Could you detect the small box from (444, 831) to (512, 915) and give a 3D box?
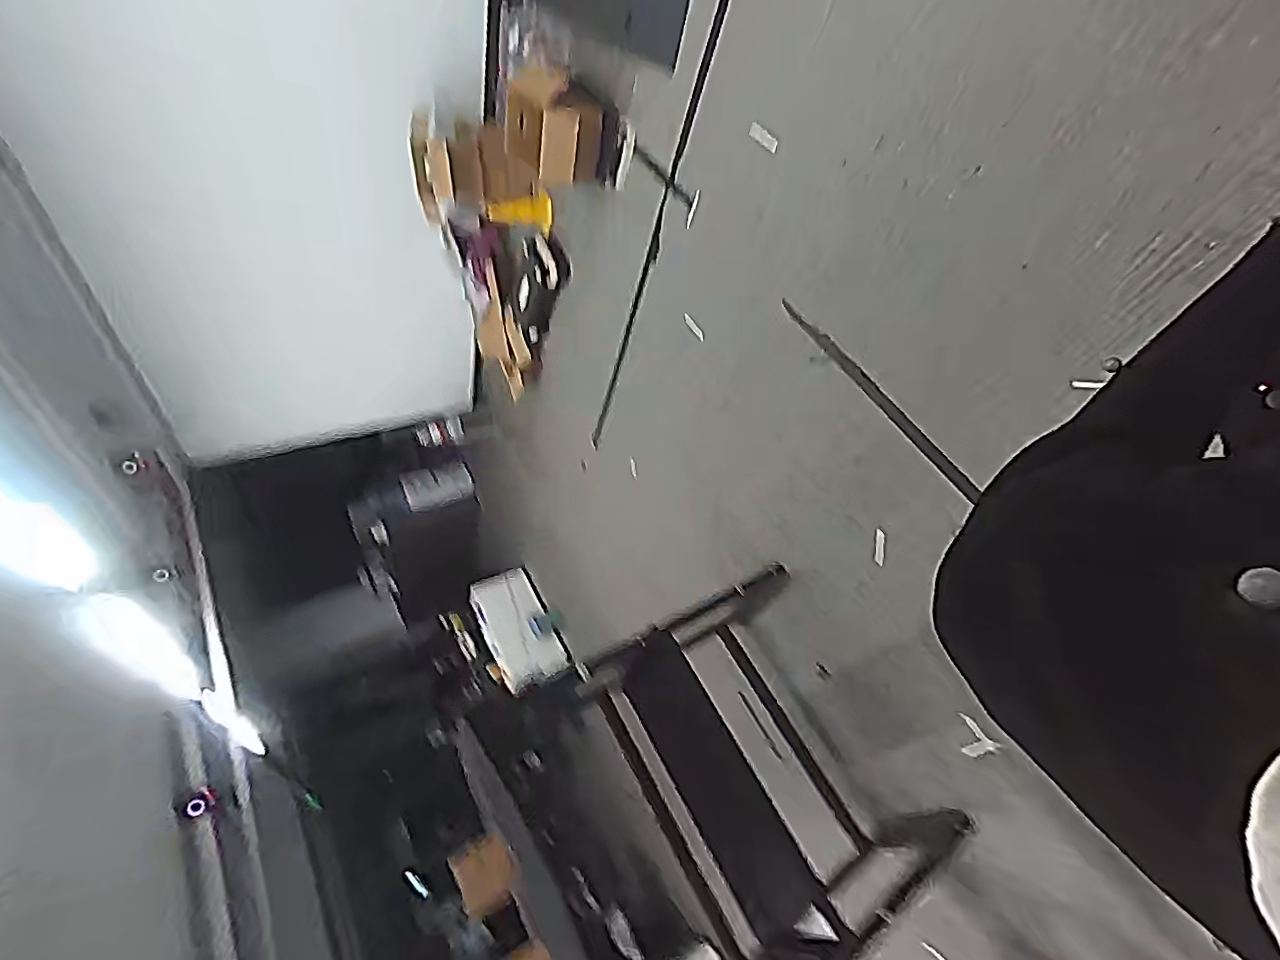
[{"bbox_3d":[-0.549,1.318,1.827,0.179,0.176,0.168,58,148,23],"label":"small box"}]
